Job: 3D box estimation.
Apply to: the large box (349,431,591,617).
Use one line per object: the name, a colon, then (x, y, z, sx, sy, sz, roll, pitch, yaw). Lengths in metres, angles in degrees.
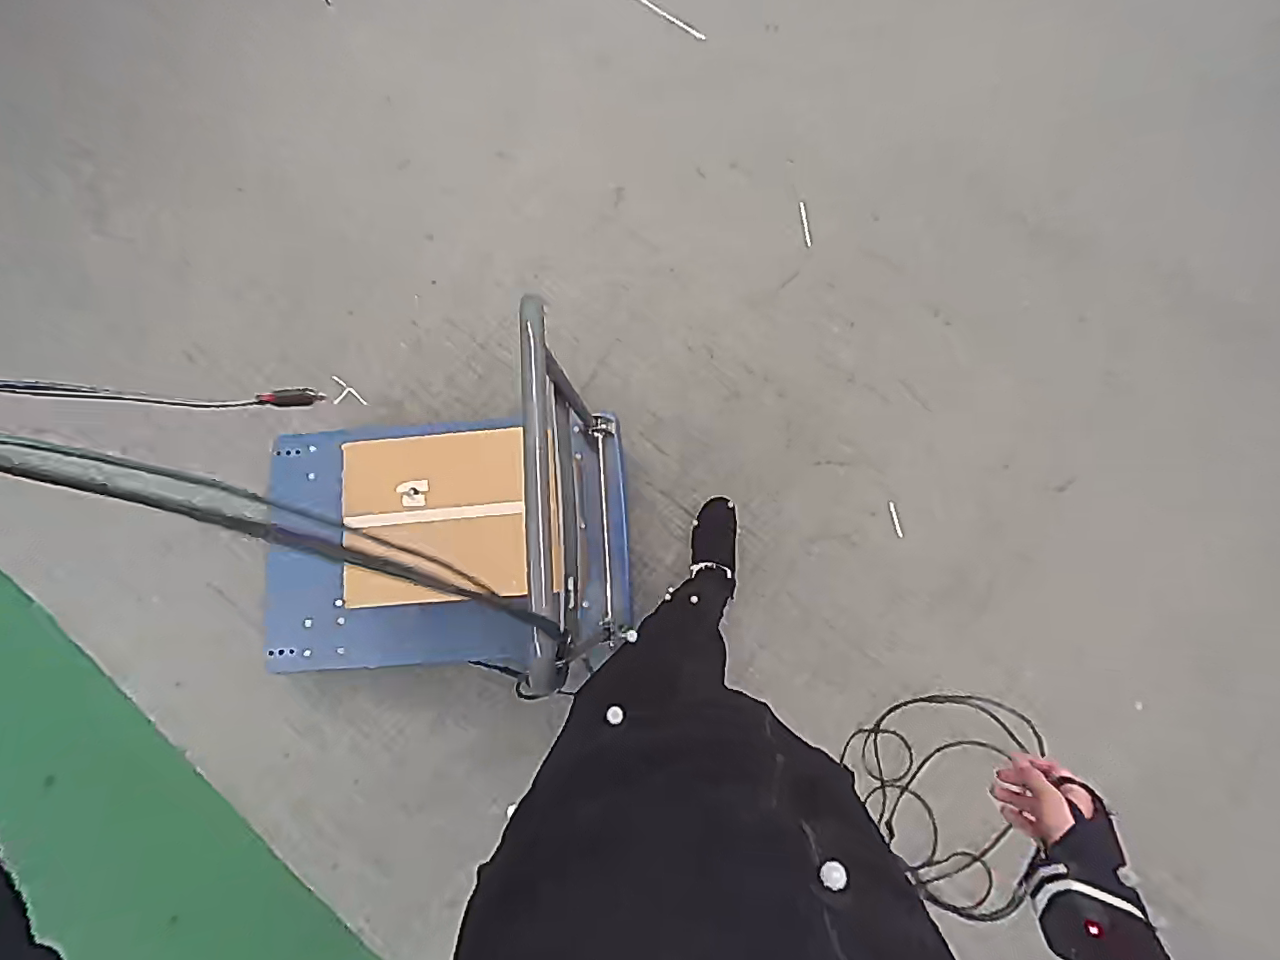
large box: (-0.334, 0.100, 1.144, 0.408, 0.320, 0.320, -5, 80, 2)
